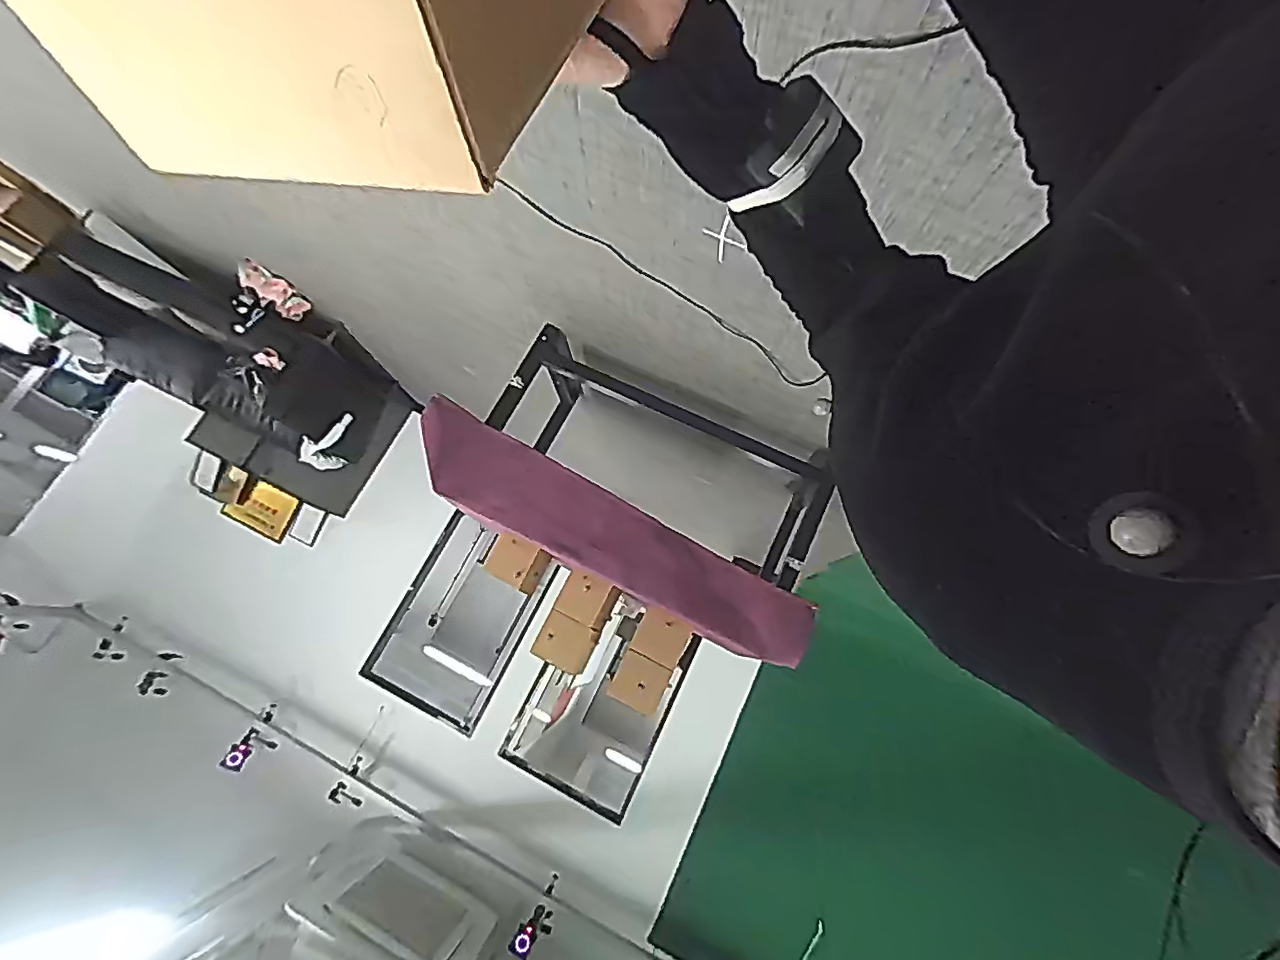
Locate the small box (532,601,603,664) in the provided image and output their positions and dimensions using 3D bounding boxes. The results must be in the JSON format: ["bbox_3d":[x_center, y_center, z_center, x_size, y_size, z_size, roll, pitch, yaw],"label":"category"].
[{"bbox_3d":[-0.255,0.546,1.952,0.179,0.176,0.168,23,167,13],"label":"small box"}]

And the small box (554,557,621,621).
[{"bbox_3d":[-0.186,0.403,1.992,0.168,0.176,0.179,23,166,15],"label":"small box"}]

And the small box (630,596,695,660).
[{"bbox_3d":[0.082,0.526,1.940,0.179,0.176,0.168,25,167,10],"label":"small box"}]

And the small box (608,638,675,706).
[{"bbox_3d":[0.009,0.669,1.904,0.179,0.176,0.168,24,166,10],"label":"small box"}]
